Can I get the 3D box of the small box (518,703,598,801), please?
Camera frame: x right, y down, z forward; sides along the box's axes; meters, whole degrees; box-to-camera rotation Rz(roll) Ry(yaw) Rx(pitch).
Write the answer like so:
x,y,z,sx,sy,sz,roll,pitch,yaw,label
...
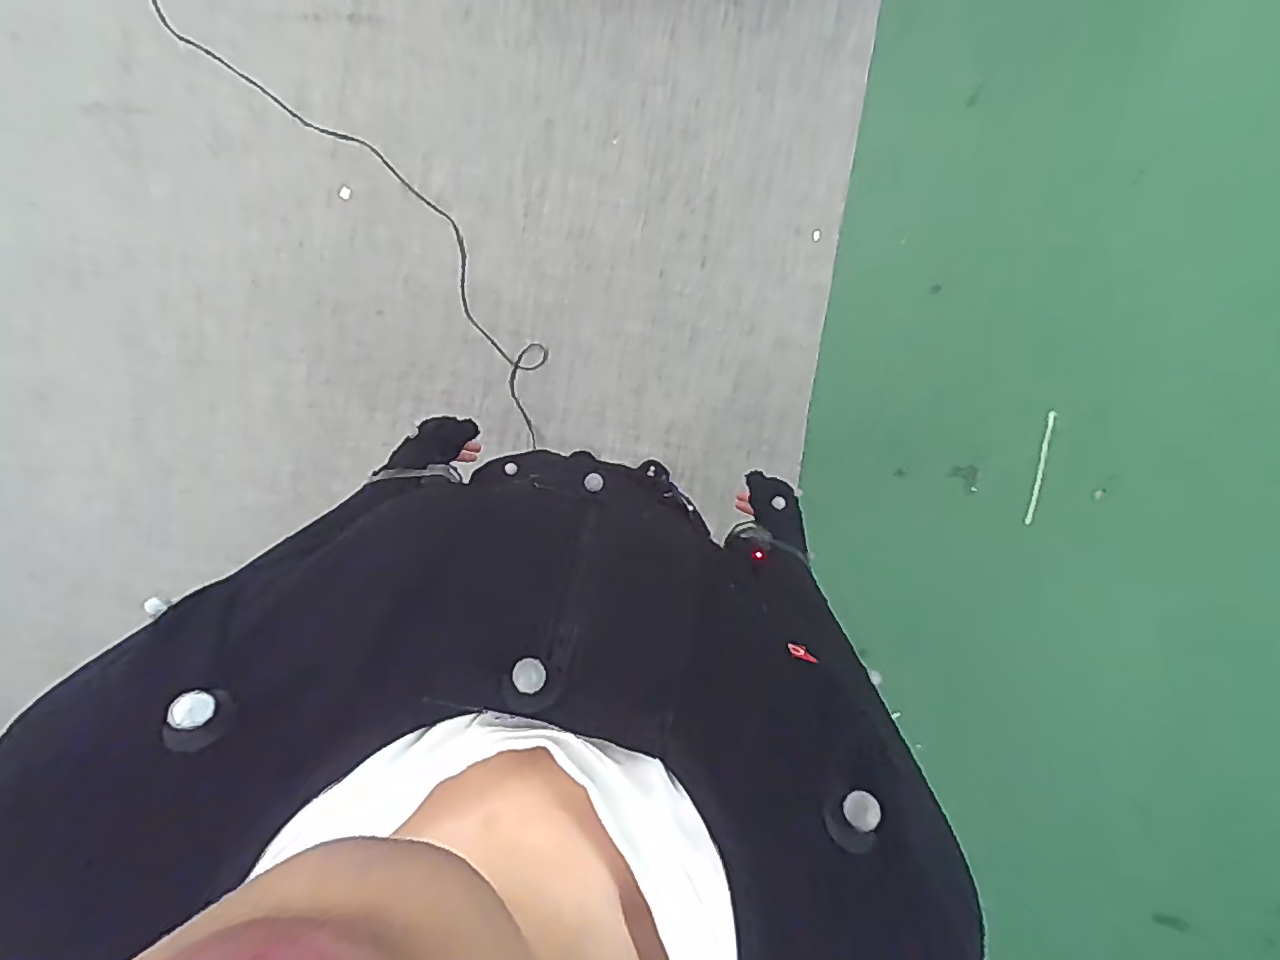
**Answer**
x,y,z,sx,sy,sz,roll,pitch,yaw,label
-0.203,0.686,1.376,0.179,0.176,0.168,0,95,0,small box
